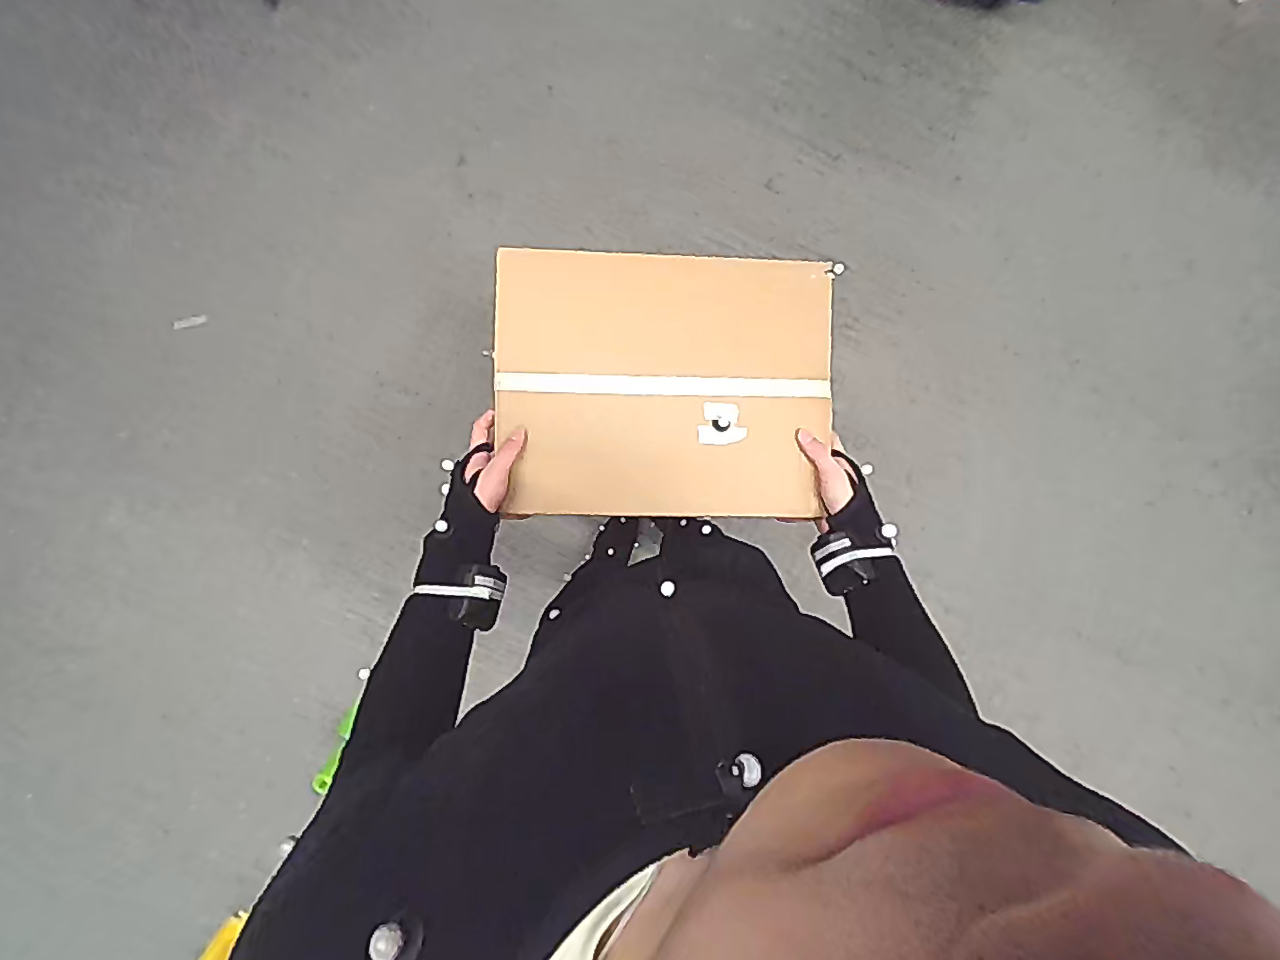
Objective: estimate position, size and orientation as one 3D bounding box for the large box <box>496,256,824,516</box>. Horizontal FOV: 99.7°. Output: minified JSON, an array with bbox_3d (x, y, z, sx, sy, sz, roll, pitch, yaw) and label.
[{"bbox_3d":[0.016,-0.116,0.805,0.408,0.320,0.320,-1,91,-5],"label":"large box"}]
